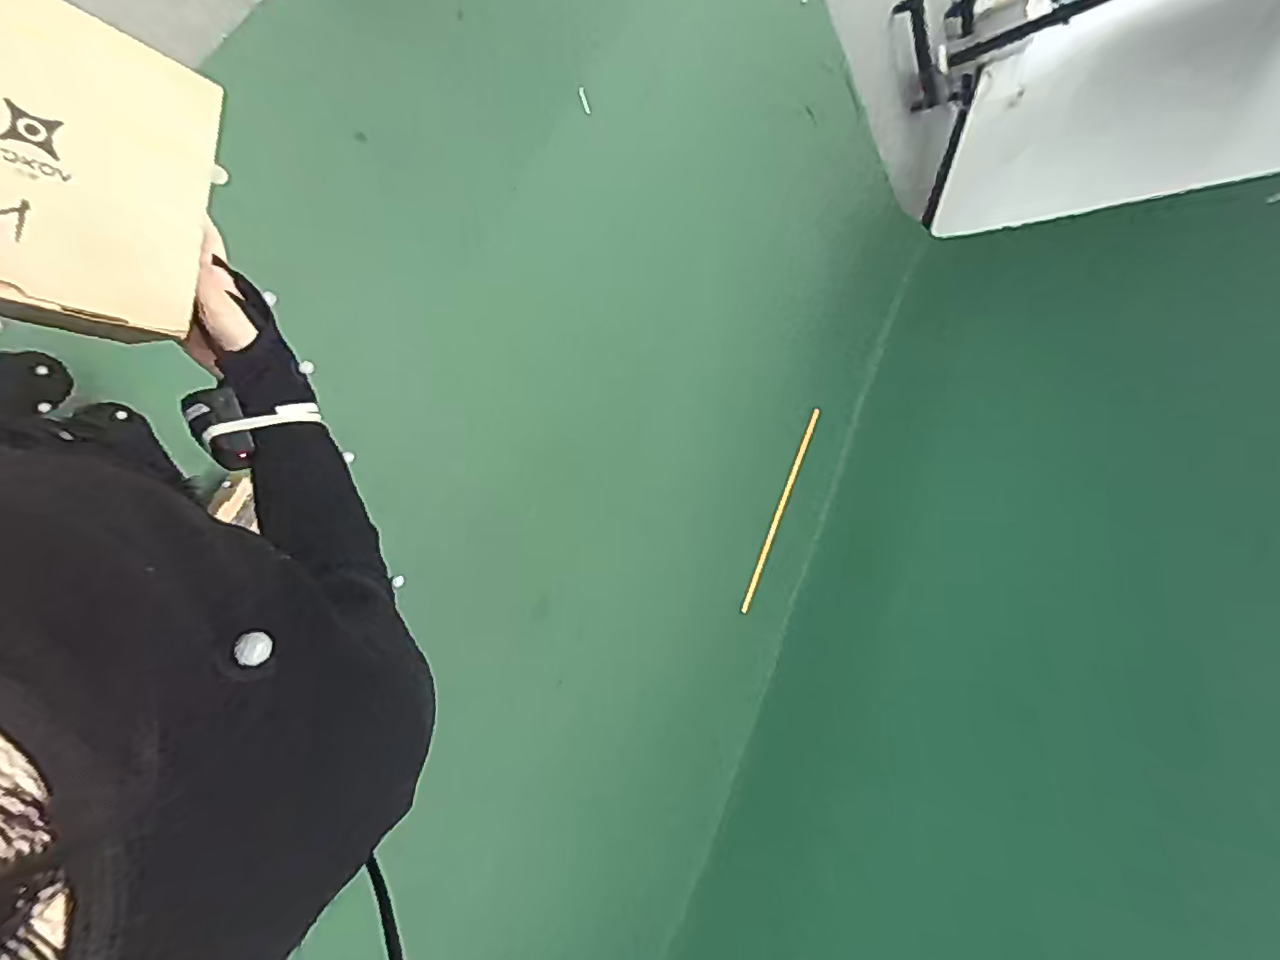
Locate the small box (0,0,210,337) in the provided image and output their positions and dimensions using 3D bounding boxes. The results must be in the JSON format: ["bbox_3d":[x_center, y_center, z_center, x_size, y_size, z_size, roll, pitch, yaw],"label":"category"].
[{"bbox_3d":[-0.417,-0.203,0.350,0.168,0.176,0.179,9,91,-54],"label":"small box"}]
